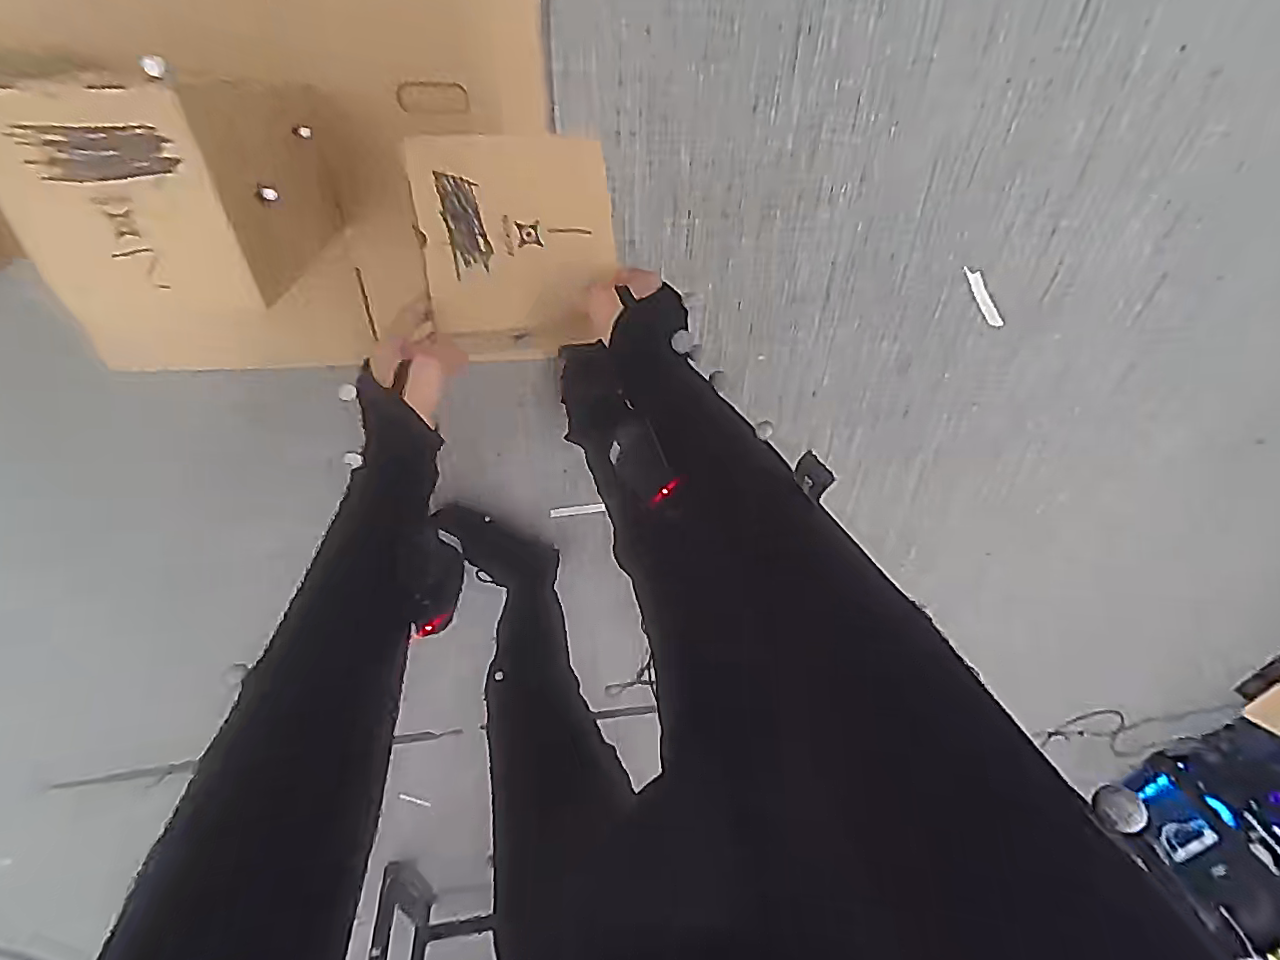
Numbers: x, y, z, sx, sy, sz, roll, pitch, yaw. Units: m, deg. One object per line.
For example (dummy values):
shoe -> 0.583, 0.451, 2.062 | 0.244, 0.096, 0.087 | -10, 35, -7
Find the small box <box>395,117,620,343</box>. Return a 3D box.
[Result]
small box -> -0.130, -0.240, 0.553 | 0.179, 0.176, 0.168 | -10, 99, -14

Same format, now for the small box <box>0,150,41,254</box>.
small box -> -0.692, -0.278, 0.450 | 0.168, 0.176, 0.179 | -1, 128, -9
